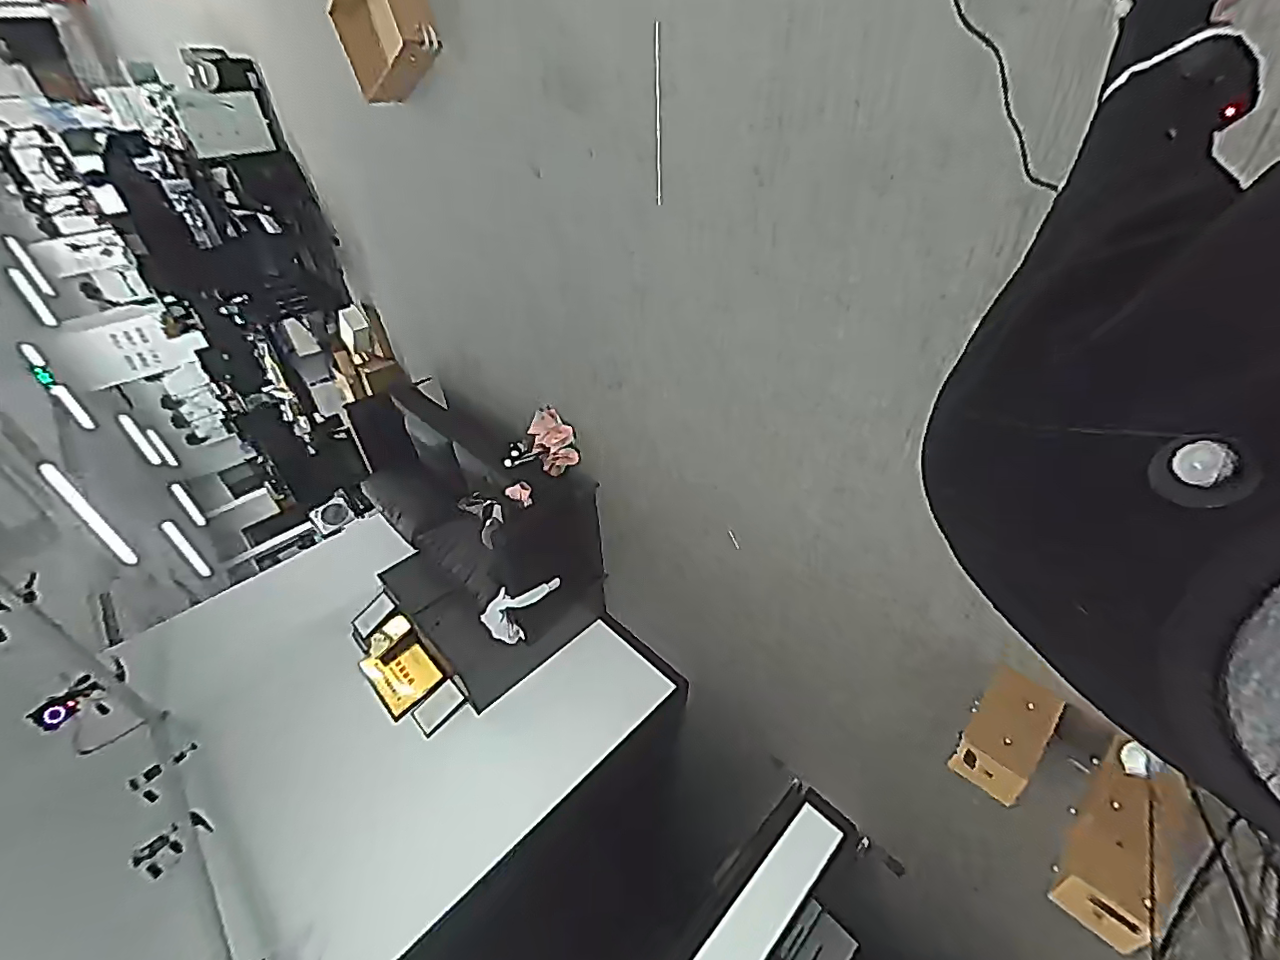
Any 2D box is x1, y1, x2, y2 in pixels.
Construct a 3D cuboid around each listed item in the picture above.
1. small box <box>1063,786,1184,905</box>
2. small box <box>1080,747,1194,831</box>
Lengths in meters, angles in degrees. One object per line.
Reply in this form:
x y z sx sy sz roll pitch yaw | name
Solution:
1.266 0.943 1.418 0.179 0.176 0.168 28 137 37 | small box
1.386 0.882 1.510 0.179 0.176 0.168 28 137 37 | small box
